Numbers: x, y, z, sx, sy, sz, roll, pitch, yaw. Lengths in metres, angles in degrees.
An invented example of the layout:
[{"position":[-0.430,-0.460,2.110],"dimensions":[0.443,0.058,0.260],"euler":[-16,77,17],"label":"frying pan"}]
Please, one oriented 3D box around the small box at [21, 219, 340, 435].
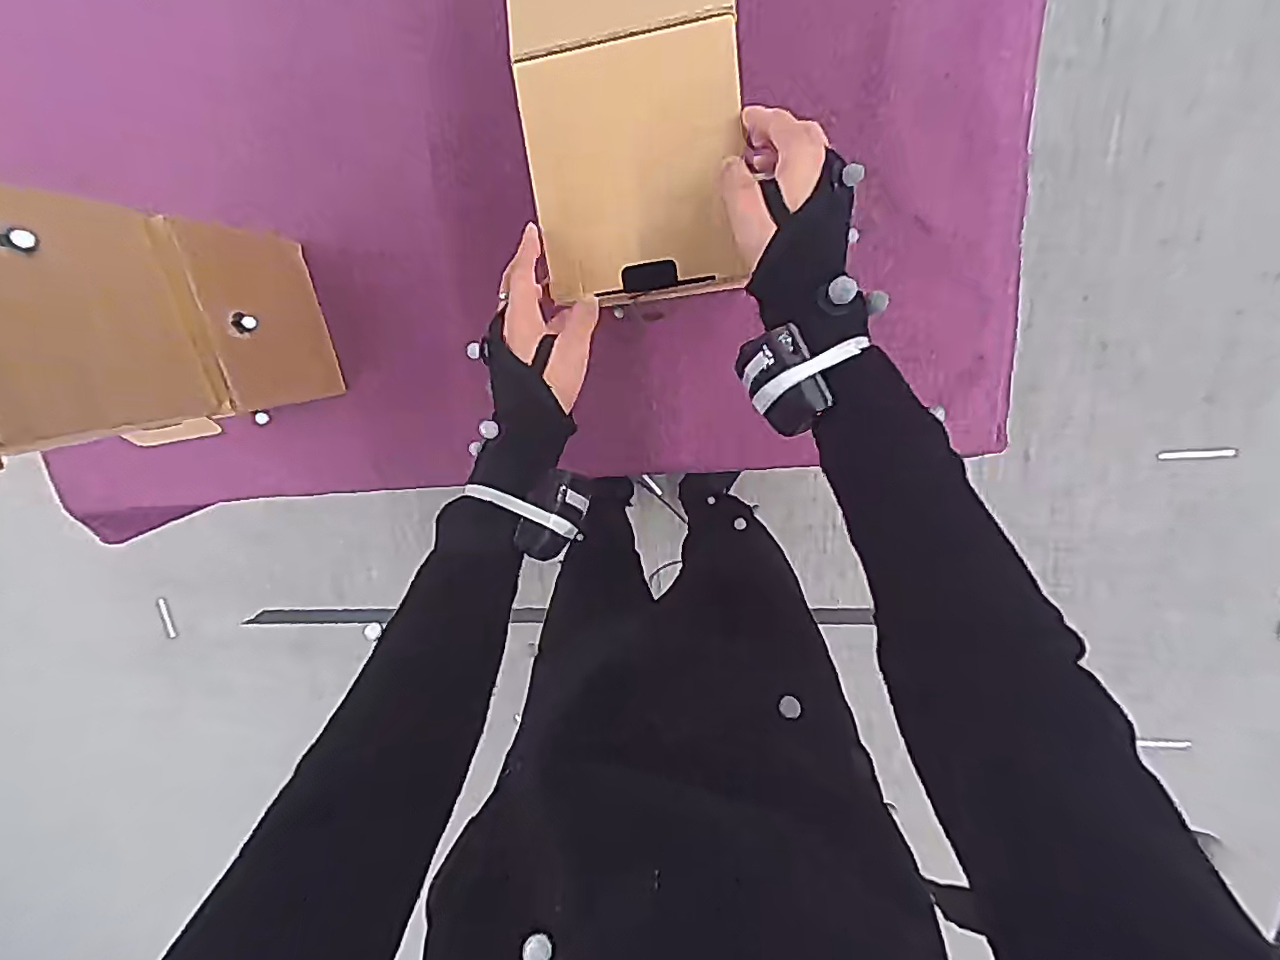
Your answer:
[{"position":[-0.459,-0.157,0.575],"dimensions":[0.168,0.176,0.179],"euler":[-7,105,9],"label":"small box"}]
